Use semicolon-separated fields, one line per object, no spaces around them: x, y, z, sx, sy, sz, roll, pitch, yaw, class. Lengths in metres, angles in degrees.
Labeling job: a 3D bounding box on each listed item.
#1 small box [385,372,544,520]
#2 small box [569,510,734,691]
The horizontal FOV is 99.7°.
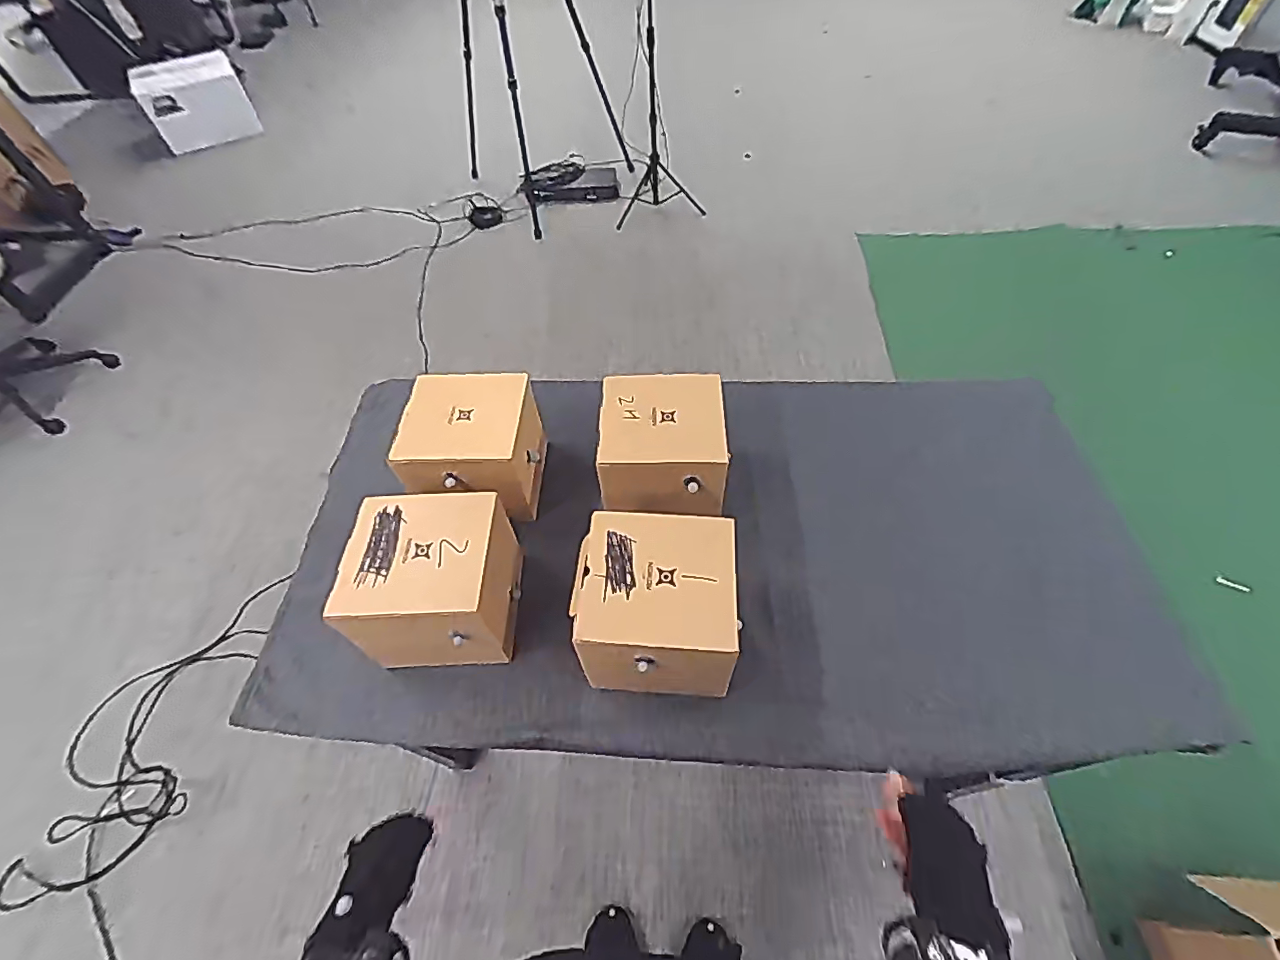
-0.254;-0.048;0.839;0.179;0.176;0.168;-1;55;3;small box
0.021;0.153;0.672;0.179;0.176;0.168;2;54;5;small box
